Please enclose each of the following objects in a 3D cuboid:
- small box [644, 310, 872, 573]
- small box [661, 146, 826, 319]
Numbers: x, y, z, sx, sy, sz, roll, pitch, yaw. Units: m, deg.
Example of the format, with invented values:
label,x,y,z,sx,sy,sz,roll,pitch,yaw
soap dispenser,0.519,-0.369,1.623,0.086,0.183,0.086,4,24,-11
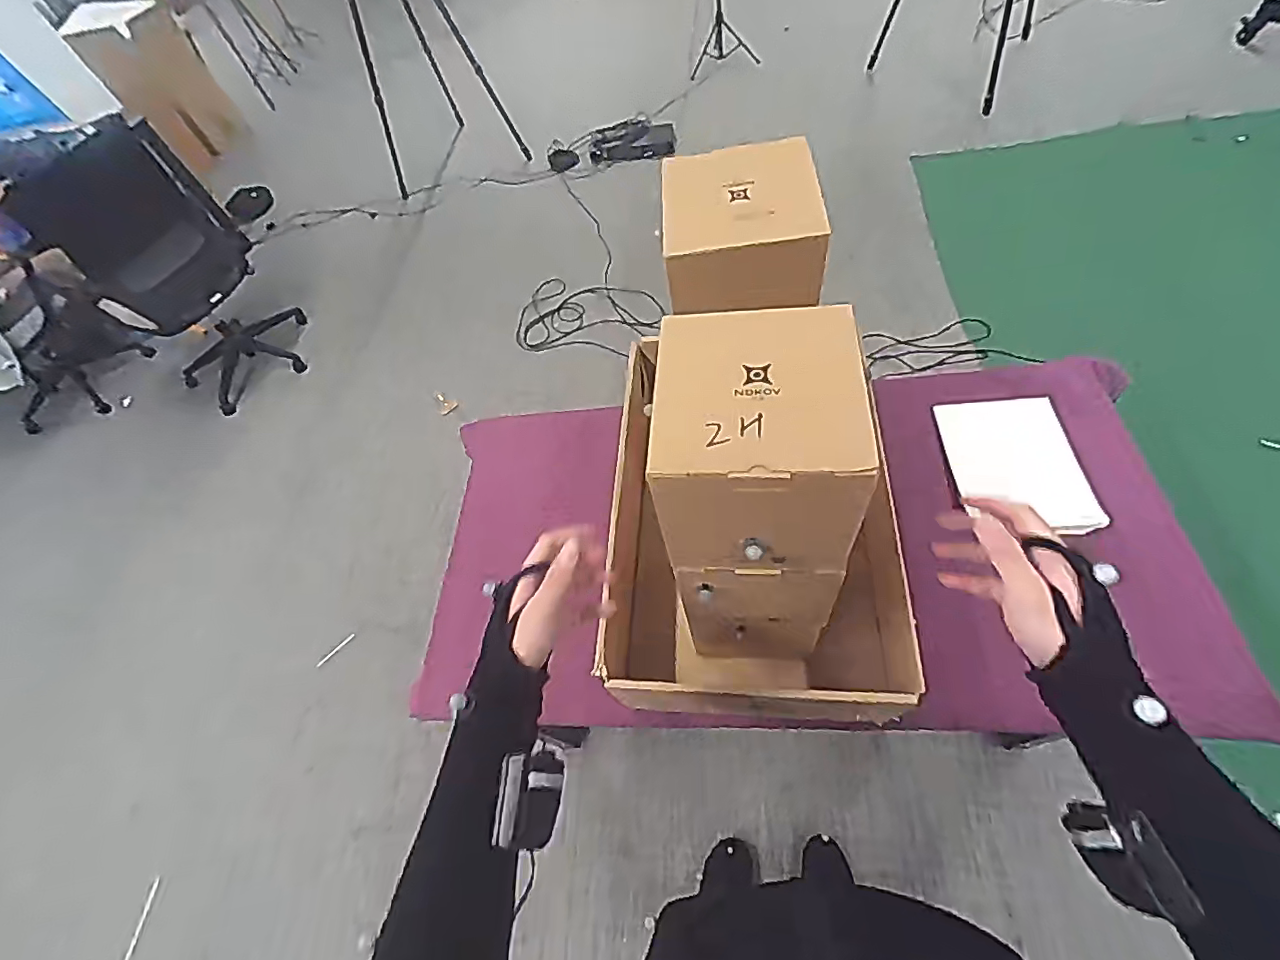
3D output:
label,x,y,z,sx,sy,sz,roll,pitch,yaw
small box,0.103,-0.031,0.500,0.168,0.176,0.179,0,57,11
small box,0.117,-0.259,0.648,0.168,0.176,0.179,-4,60,9
